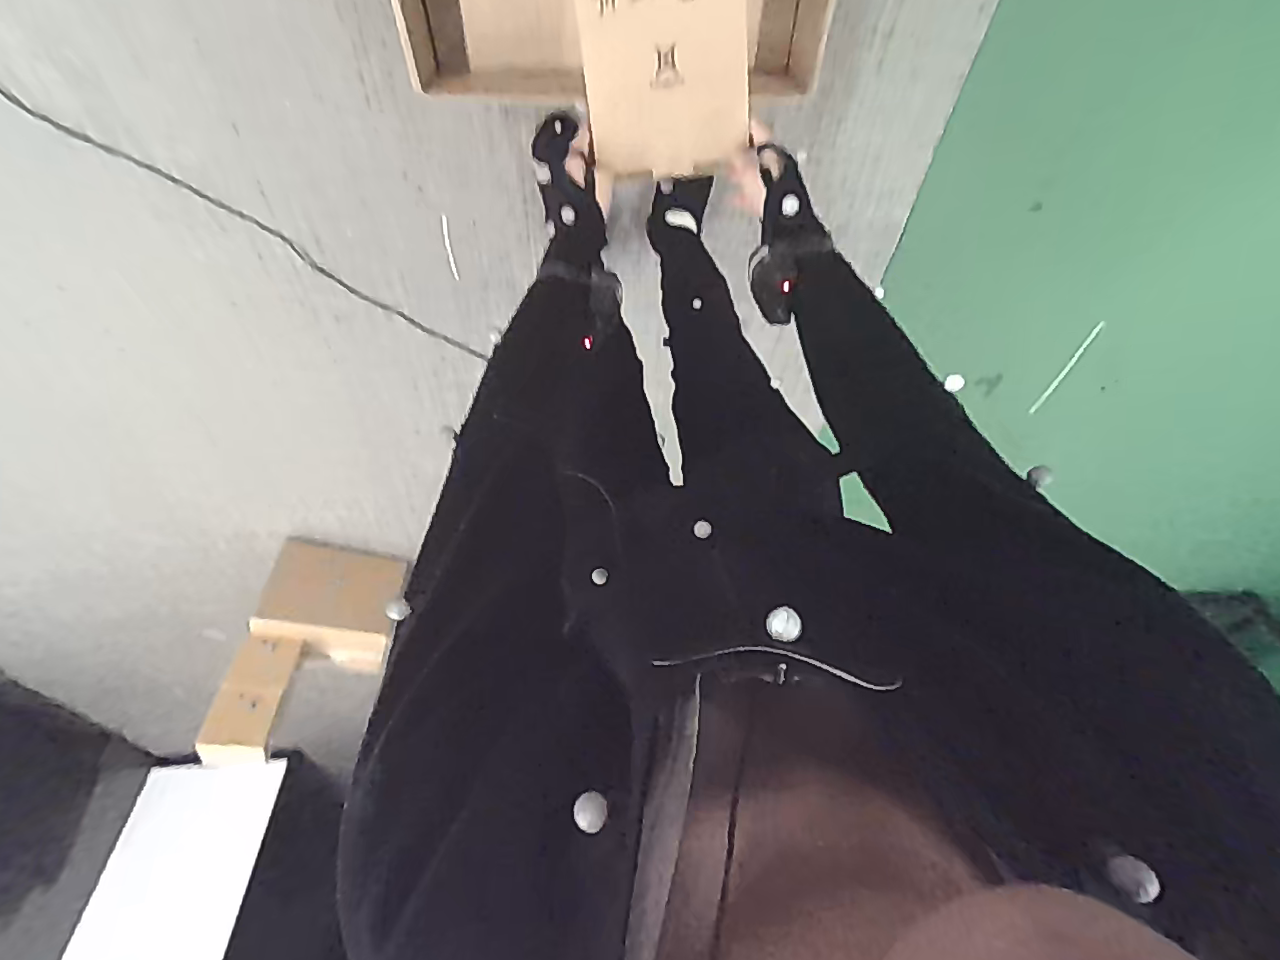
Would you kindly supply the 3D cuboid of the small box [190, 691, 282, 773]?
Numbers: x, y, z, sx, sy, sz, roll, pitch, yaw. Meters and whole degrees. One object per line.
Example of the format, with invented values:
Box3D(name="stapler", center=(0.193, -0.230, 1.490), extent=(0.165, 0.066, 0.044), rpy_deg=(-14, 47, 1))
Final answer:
Box3D(name="small box", center=(-1.183, 0.747, 1.600), extent=(0.168, 0.176, 0.179), rpy_deg=(13, 134, -19))
